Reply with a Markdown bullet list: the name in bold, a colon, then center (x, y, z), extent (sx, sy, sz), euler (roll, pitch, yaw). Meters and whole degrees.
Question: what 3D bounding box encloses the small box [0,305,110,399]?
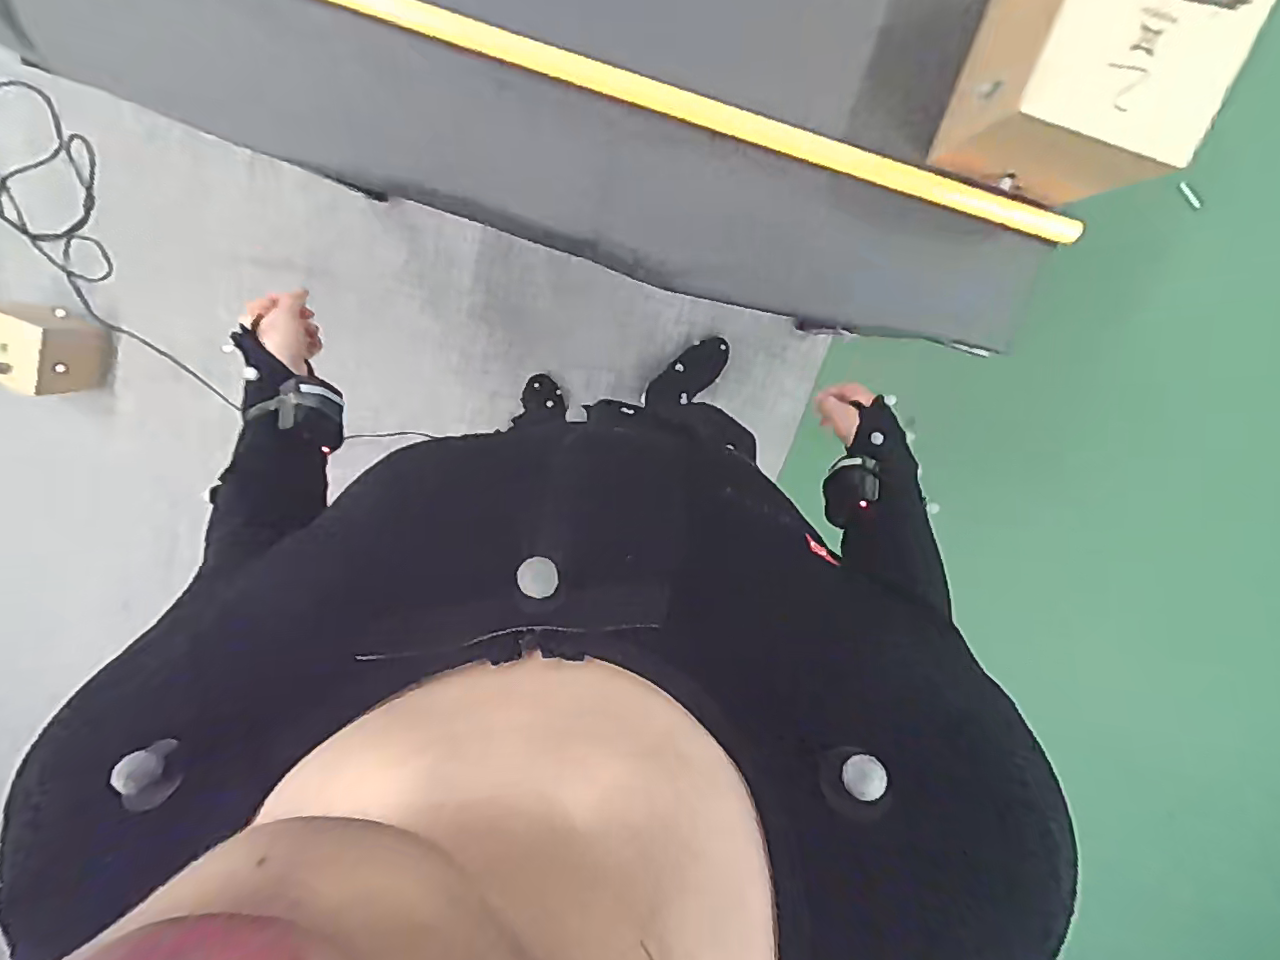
- **small box**: center (-1.492, -0.322, 1.353), extent (0.168, 0.176, 0.179), euler (21, 105, -5)
